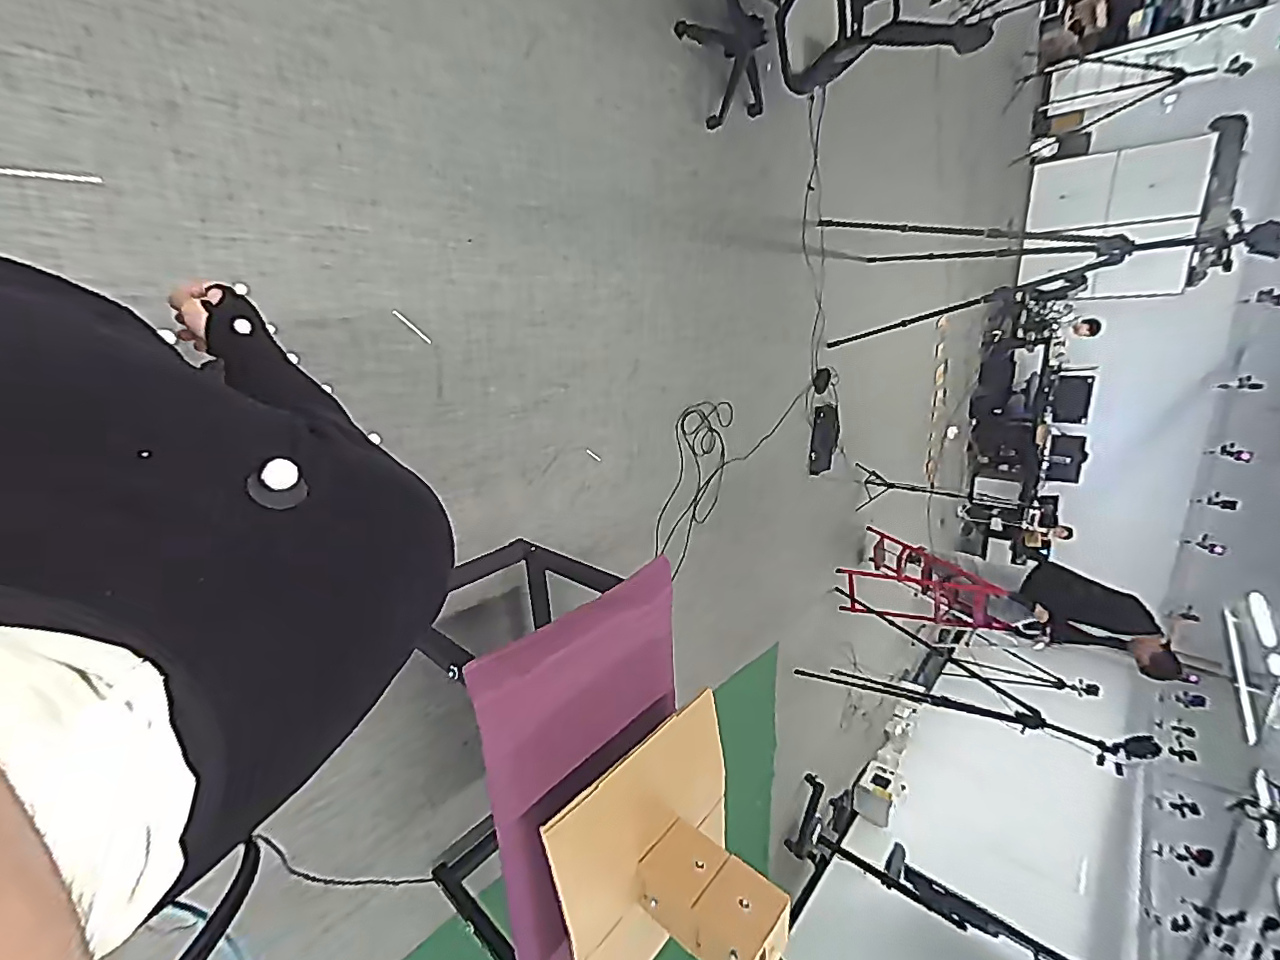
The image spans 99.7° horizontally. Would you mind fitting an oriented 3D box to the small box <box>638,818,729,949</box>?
[{"bbox_3d":[0.114,1.035,1.407,0.179,0.176,0.168,-21,116,-43],"label":"small box"}]
